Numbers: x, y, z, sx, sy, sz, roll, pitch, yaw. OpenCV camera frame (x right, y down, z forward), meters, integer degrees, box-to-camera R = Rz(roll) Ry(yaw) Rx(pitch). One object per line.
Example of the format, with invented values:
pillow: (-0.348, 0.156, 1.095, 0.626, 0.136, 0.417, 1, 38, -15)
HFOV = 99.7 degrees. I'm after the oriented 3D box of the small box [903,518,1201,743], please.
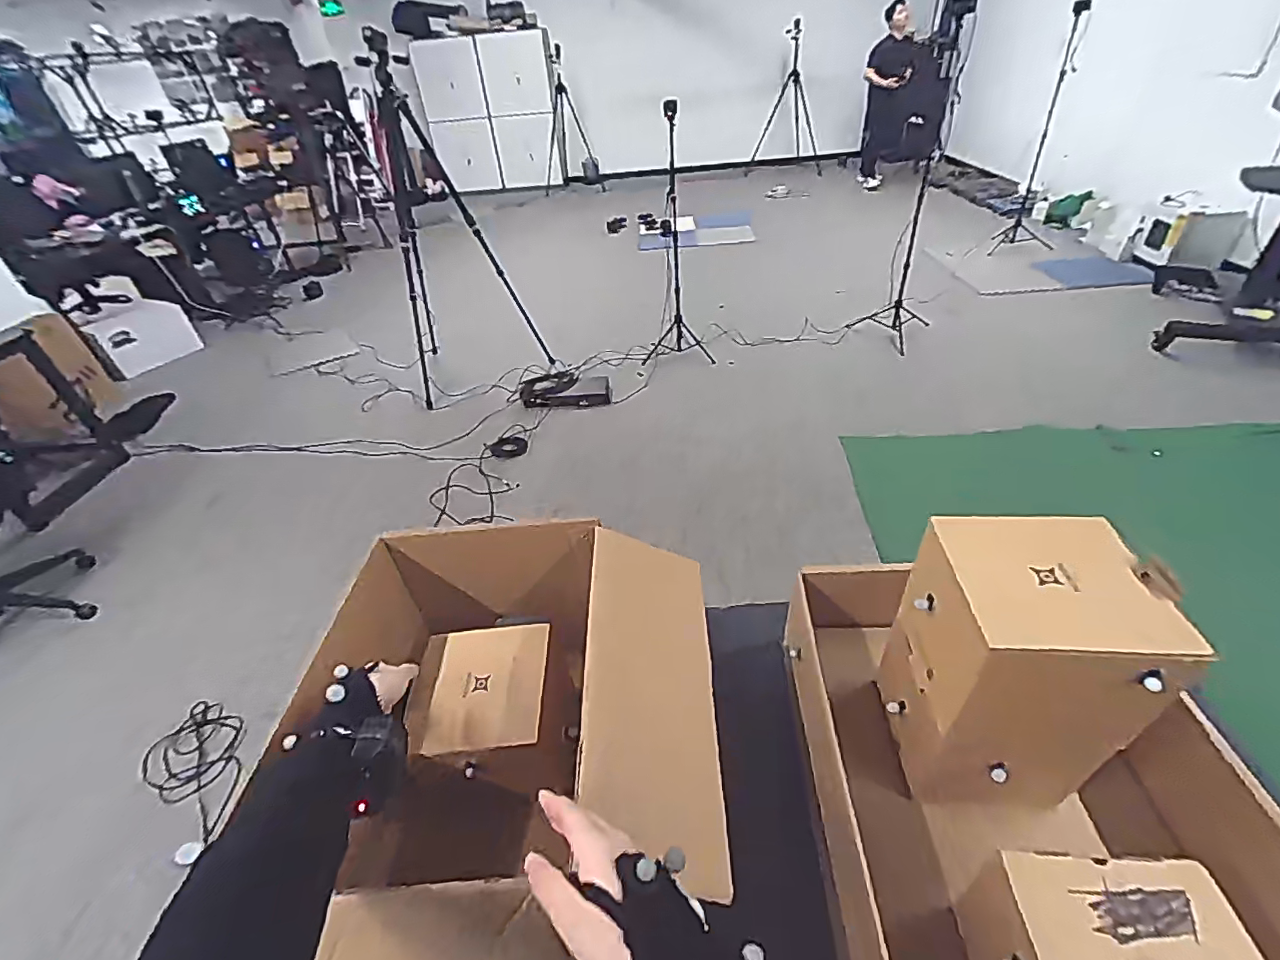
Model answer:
small box: (0.394, 0.156, 0.567, 0.179, 0.176, 0.168, 0, 40, 7)
